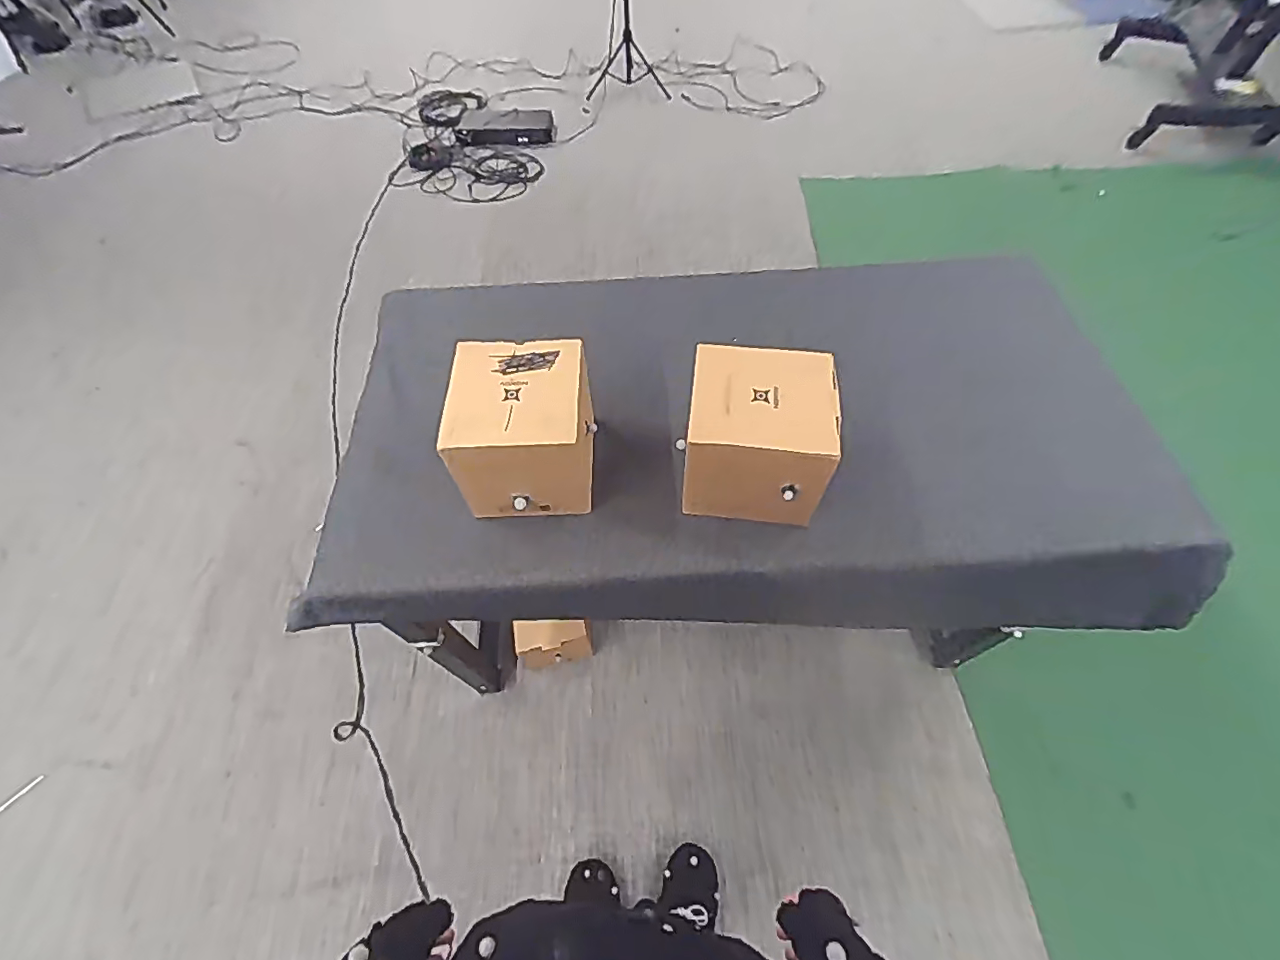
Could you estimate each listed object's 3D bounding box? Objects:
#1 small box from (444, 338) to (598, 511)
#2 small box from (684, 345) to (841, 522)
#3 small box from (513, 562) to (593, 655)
[{"bbox_3d":[-0.148,-0.073,0.741,0.168,0.176,0.179,-1,58,1],"label":"small box"},{"bbox_3d":[0.156,-0.056,0.727,0.179,0.176,0.168,6,58,6],"label":"small box"},{"bbox_3d":[-0.214,0.328,1.356,0.168,0.176,0.179,-10,59,-5],"label":"small box"}]
